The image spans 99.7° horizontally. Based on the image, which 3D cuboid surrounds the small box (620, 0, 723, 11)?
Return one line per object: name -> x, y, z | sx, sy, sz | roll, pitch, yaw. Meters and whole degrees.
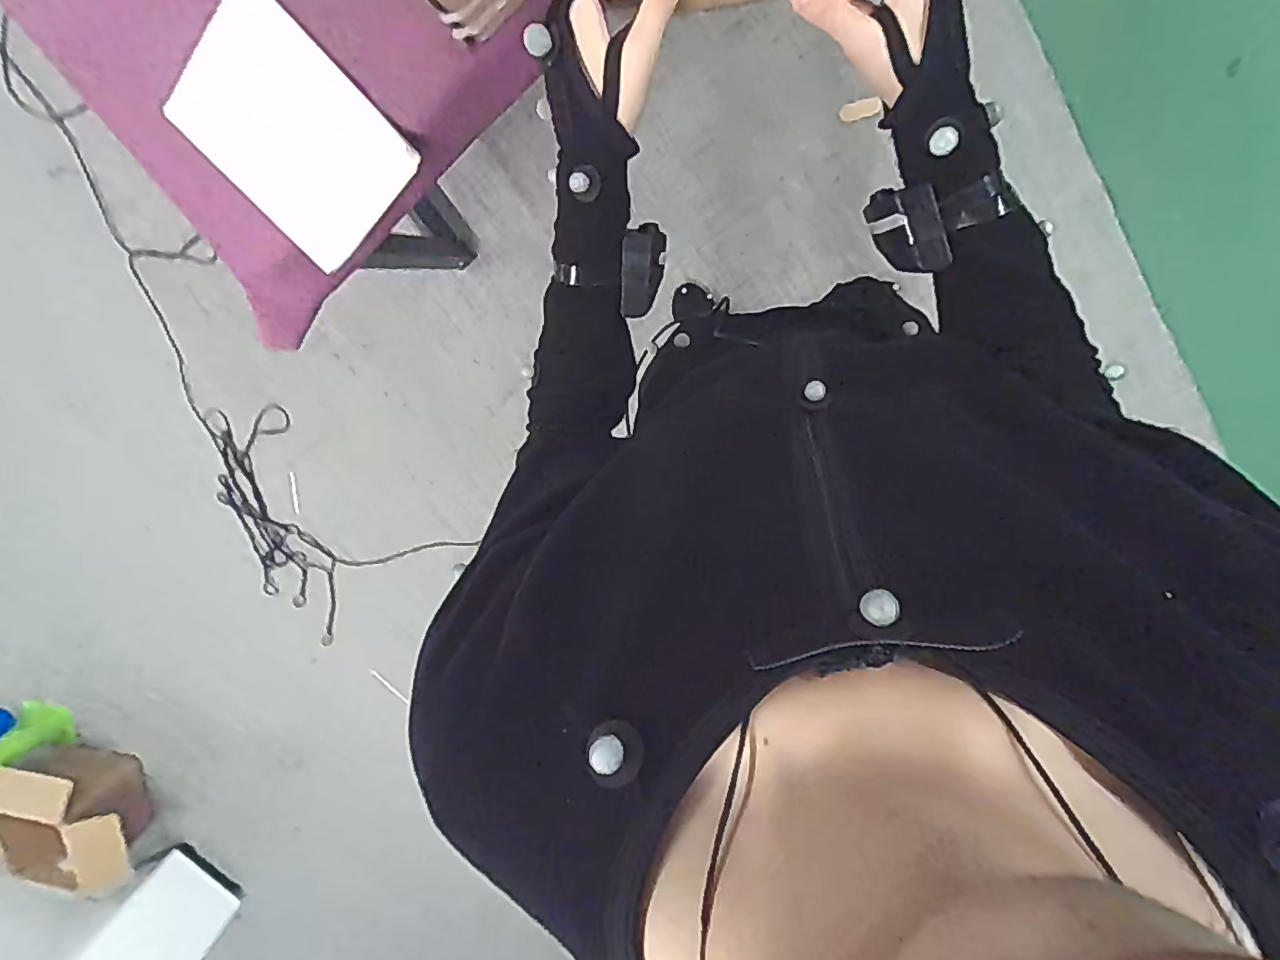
small box -> 0.052, -0.407, 0.321 | 0.168, 0.176, 0.179 | -5, 124, 4
